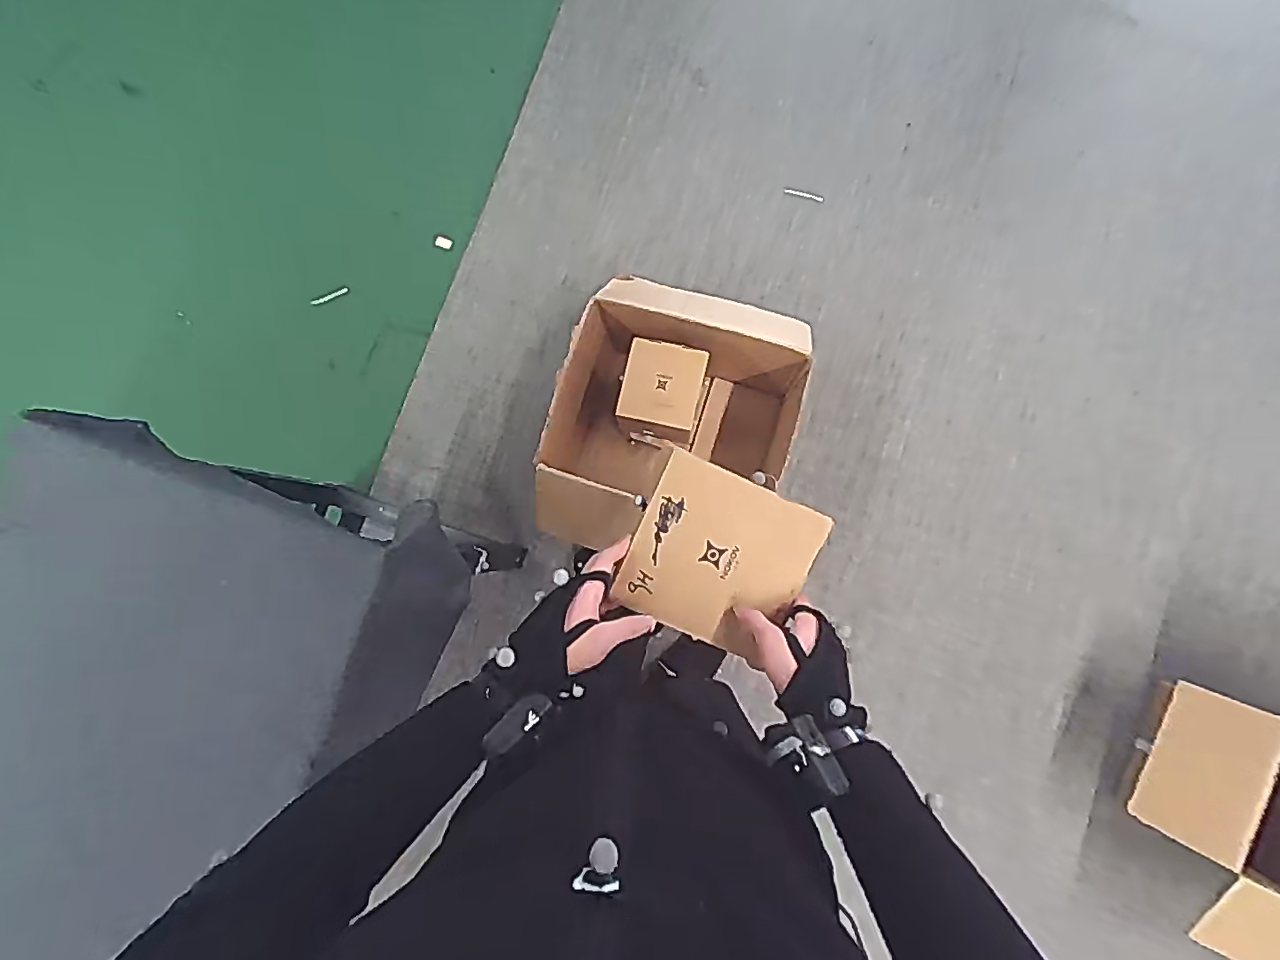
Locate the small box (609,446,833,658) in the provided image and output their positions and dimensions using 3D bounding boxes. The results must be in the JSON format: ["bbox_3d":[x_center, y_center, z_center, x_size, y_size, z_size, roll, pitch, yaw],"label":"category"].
[{"bbox_3d":[0.078,0.065,0.613,0.179,0.176,0.168,25,94,-3],"label":"small box"}]

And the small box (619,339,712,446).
[{"bbox_3d":[0.056,-0.187,1.202,0.168,0.176,0.179,12,85,4],"label":"small box"}]
